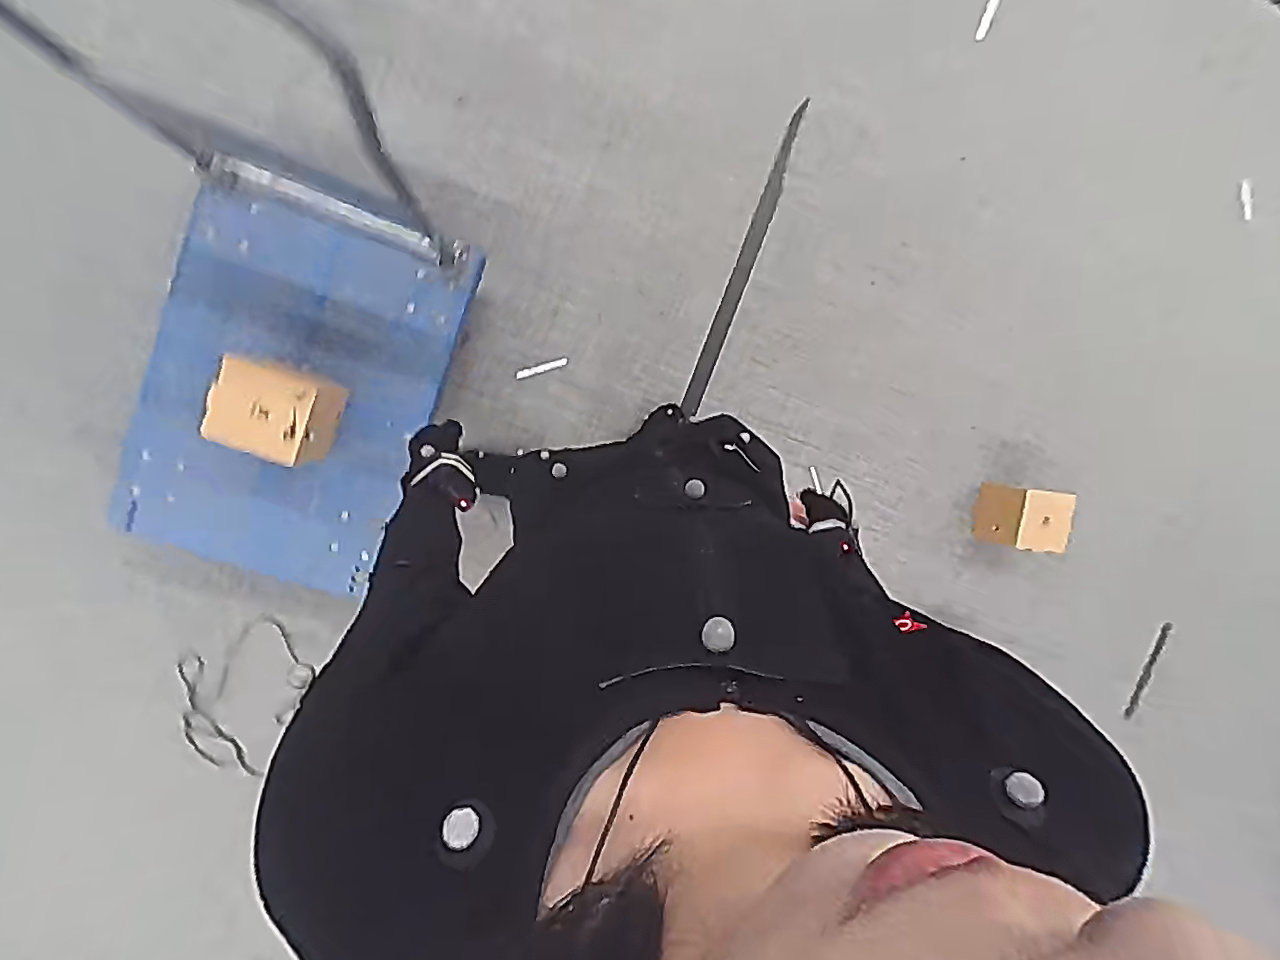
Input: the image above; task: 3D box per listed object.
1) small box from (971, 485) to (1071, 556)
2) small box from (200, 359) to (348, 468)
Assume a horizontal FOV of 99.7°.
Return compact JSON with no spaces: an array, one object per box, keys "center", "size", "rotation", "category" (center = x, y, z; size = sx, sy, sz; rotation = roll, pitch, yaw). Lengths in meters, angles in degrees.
[{"center":[1.129,0.117,1.617],"size":[0.168,0.176,0.179],"rotation":[5,96,-9],"category":"small box"},{"center":[-0.749,-0.136,1.126],"size":[0.179,0.176,0.168],"rotation":[21,95,-9],"category":"small box"}]
